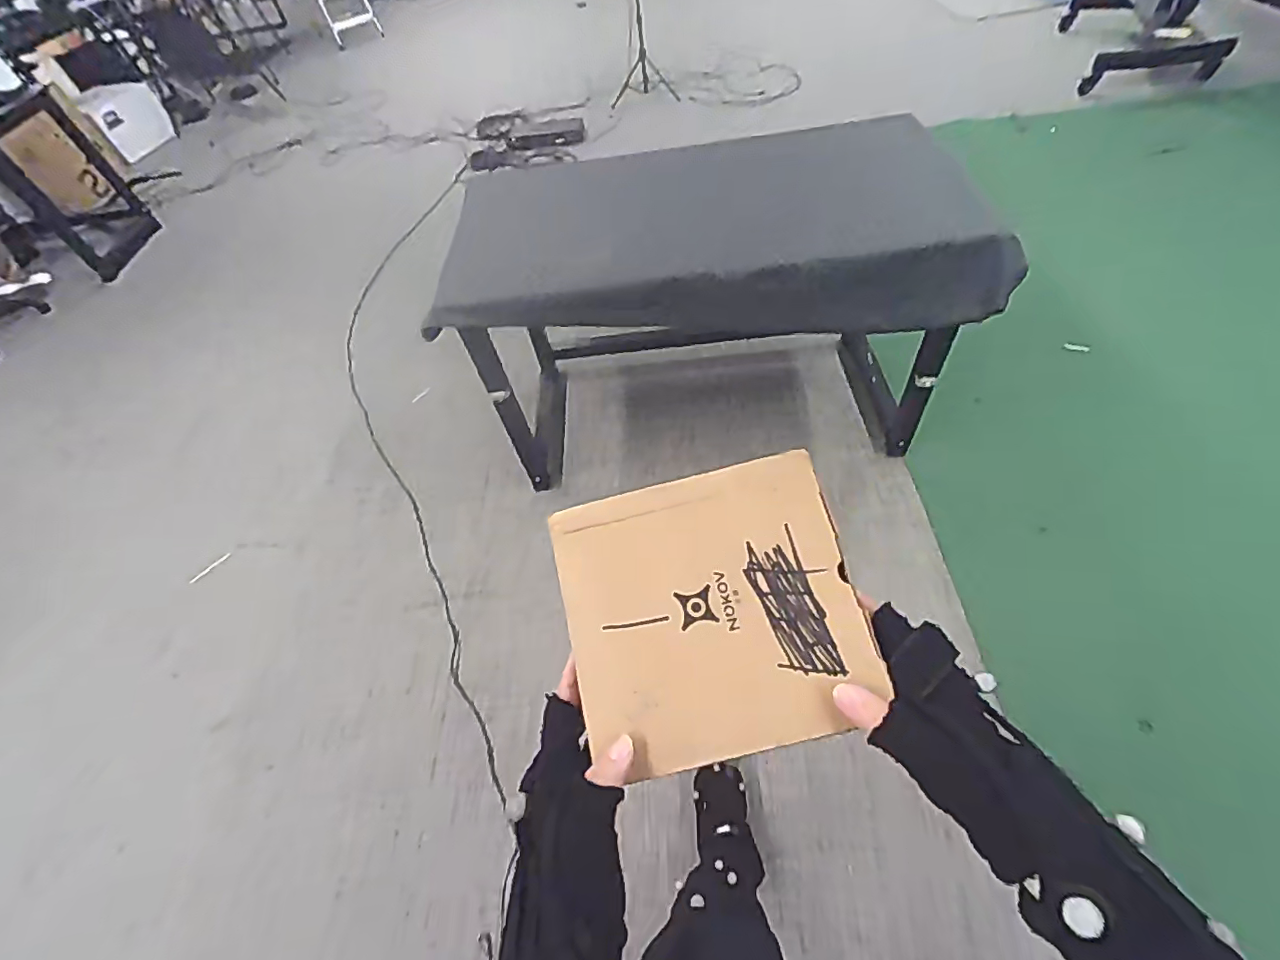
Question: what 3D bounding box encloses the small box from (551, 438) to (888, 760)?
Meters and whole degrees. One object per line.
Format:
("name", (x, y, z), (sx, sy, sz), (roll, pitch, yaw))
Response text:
("small box", (0.047, 0.089, 0.406), (0.179, 0.176, 0.168), (-14, 72, 1))
